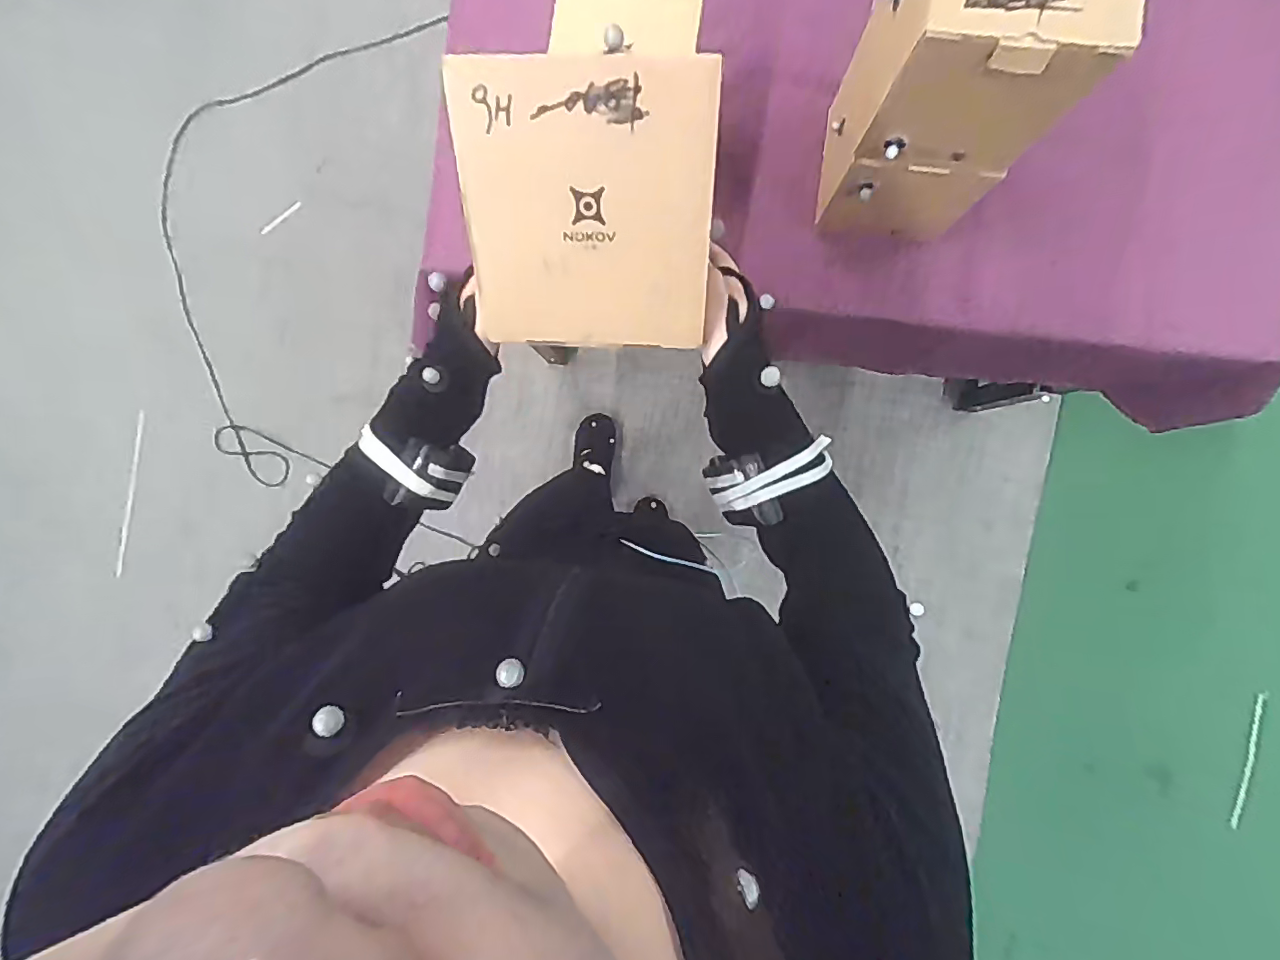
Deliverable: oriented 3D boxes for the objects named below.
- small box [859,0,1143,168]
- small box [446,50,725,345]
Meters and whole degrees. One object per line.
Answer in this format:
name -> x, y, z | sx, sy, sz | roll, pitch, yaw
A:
small box -> 0.321, -0.426, 0.506 | 0.168, 0.176, 0.179 | 7, 89, 3
small box -> -0.026, -0.222, 0.423 | 0.168, 0.176, 0.179 | 2, 126, 3
